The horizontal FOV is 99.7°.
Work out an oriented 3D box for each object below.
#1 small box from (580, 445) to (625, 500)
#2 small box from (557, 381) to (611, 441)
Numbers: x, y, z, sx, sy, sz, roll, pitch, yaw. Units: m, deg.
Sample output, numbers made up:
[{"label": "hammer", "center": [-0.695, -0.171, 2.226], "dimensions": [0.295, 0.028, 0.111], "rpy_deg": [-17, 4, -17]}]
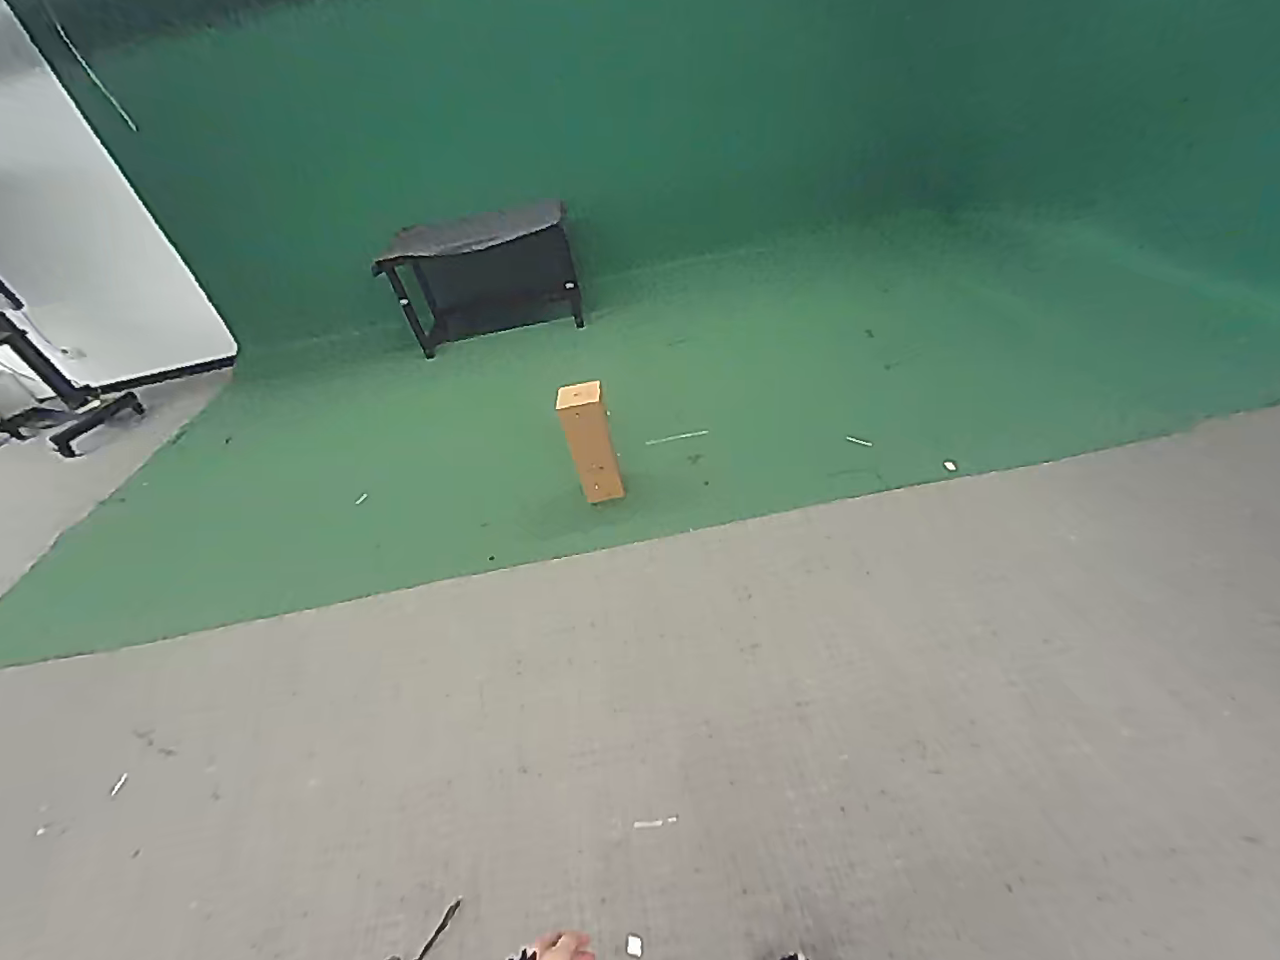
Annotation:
[{"label": "small box", "center": [-0.163, -0.026, 2.382], "dimensions": [0.168, 0.176, 0.179], "rpy_deg": [-11, 38, 3]}, {"label": "small box", "center": [-0.220, -0.274, 2.173], "dimensions": [0.179, 0.176, 0.168], "rpy_deg": [-9, 39, 5]}]
